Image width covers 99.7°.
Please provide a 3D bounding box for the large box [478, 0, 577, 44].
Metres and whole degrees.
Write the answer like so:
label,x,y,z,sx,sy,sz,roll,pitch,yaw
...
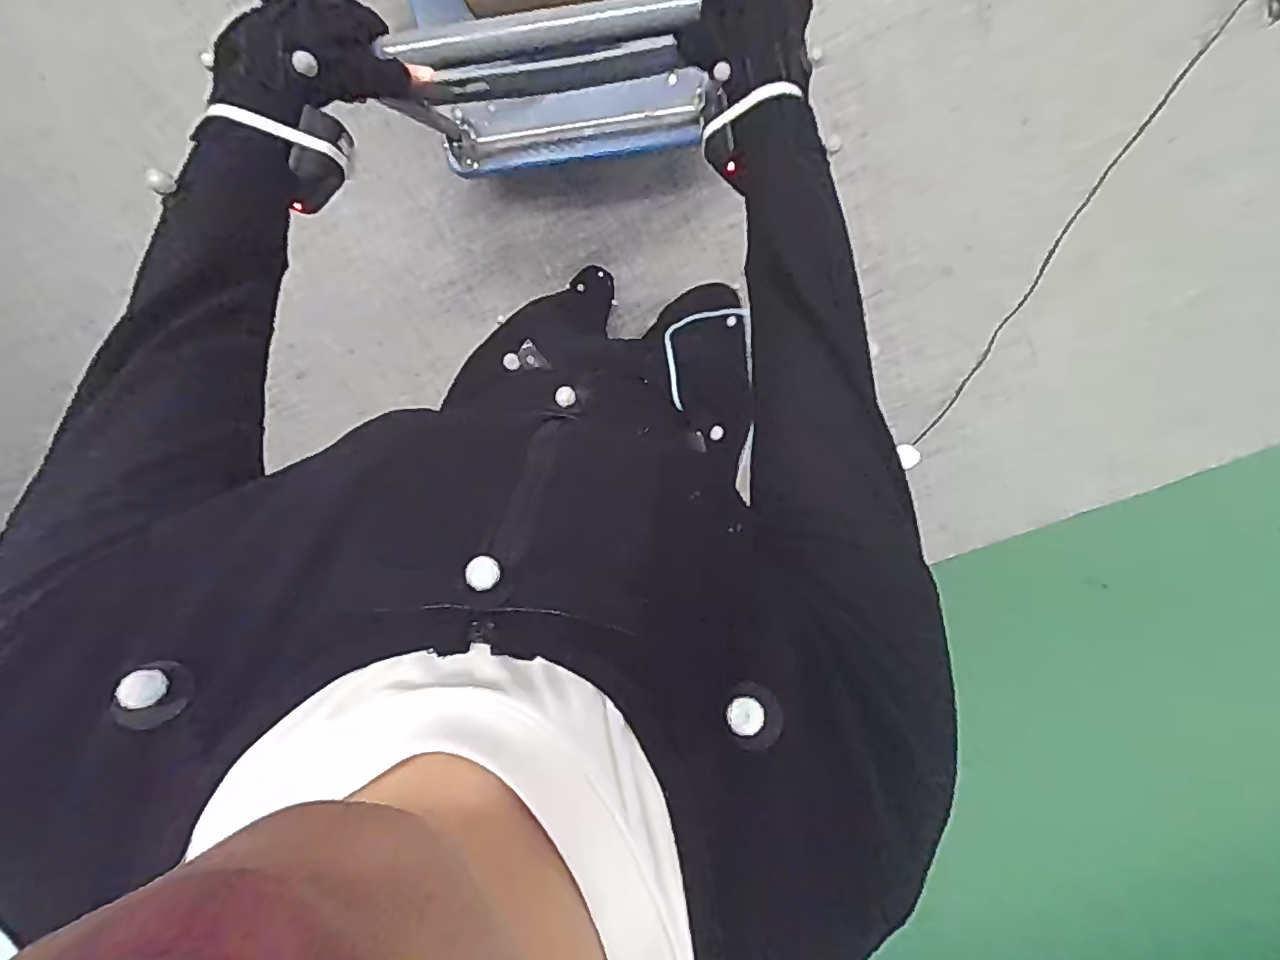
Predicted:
label,x,y,z,sx,sy,sz,roll,pitch,yaw
large box,-0.140,-0.959,0.786,0.408,0.320,0.320,-26,110,12
